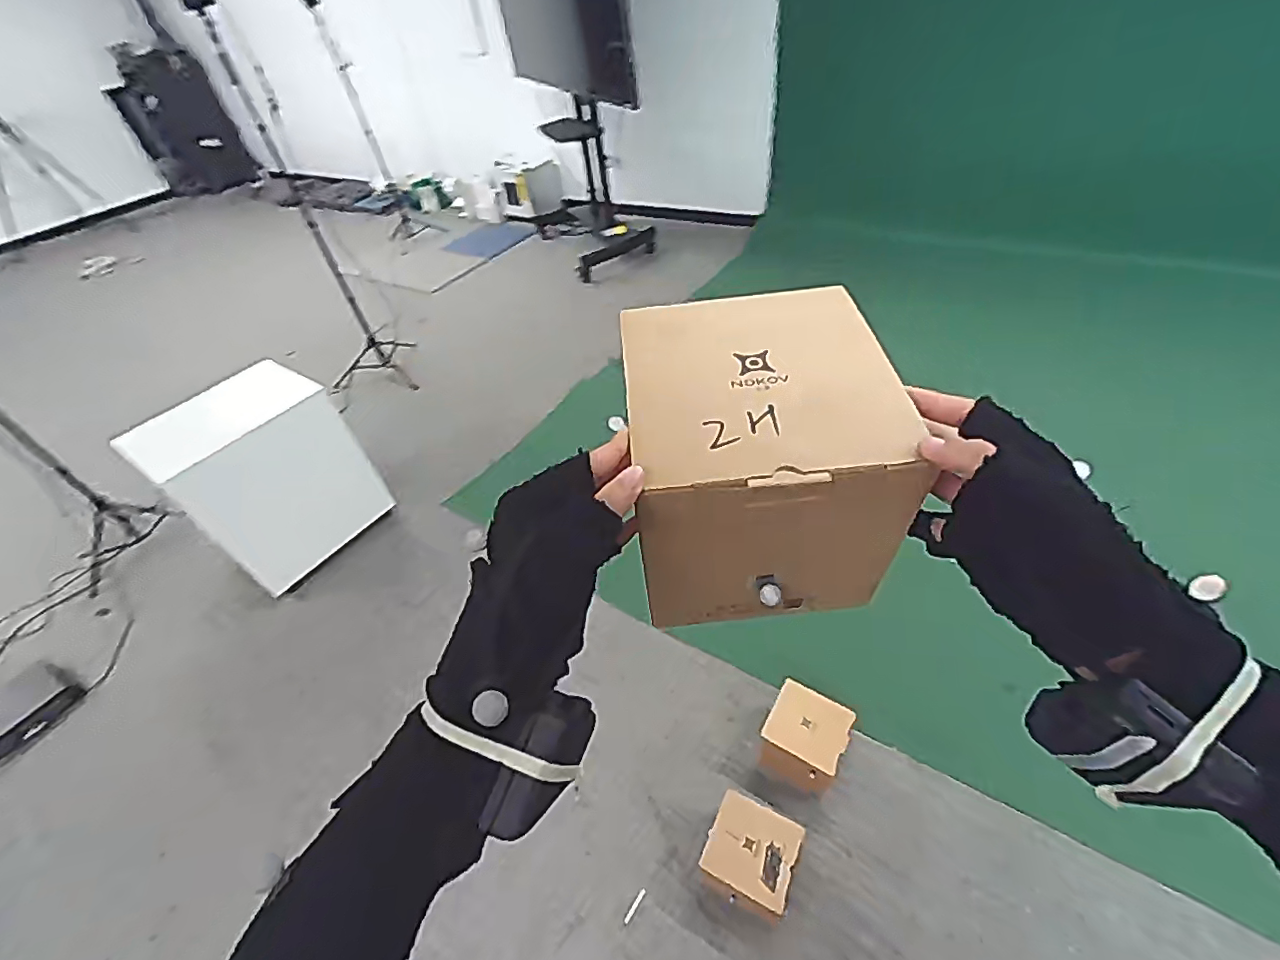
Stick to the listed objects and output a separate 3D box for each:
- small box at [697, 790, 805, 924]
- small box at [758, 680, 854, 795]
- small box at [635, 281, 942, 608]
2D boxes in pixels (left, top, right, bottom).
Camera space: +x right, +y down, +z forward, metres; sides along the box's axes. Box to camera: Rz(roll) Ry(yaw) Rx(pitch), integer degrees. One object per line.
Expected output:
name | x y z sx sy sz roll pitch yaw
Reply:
small box | 0.237 0.811 1.160 0.179 0.176 0.168 16 48 25
small box | 0.401 0.634 1.325 0.179 0.176 0.168 20 51 27
small box | 0.085 -0.024 0.408 0.168 0.176 0.179 -5 50 2
